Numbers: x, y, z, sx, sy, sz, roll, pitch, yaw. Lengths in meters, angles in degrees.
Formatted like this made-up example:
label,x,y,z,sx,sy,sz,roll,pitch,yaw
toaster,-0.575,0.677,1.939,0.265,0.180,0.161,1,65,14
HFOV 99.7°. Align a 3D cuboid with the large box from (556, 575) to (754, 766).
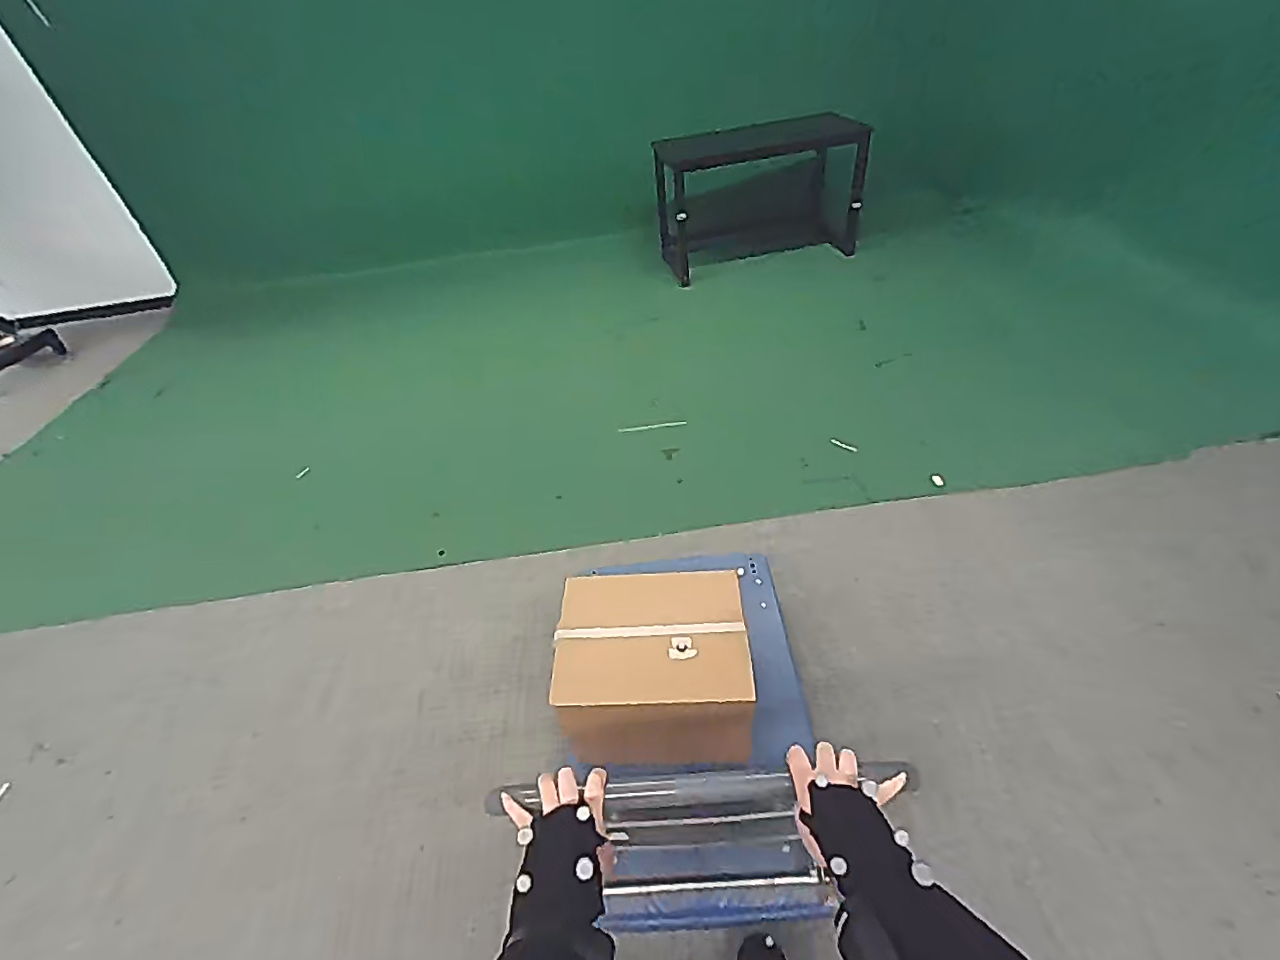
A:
label,x,y,z,sx,sy,sz,roll,pitch,yaw
large box,0.038,0.449,1.272,0.408,0.320,0.320,-3,42,4
